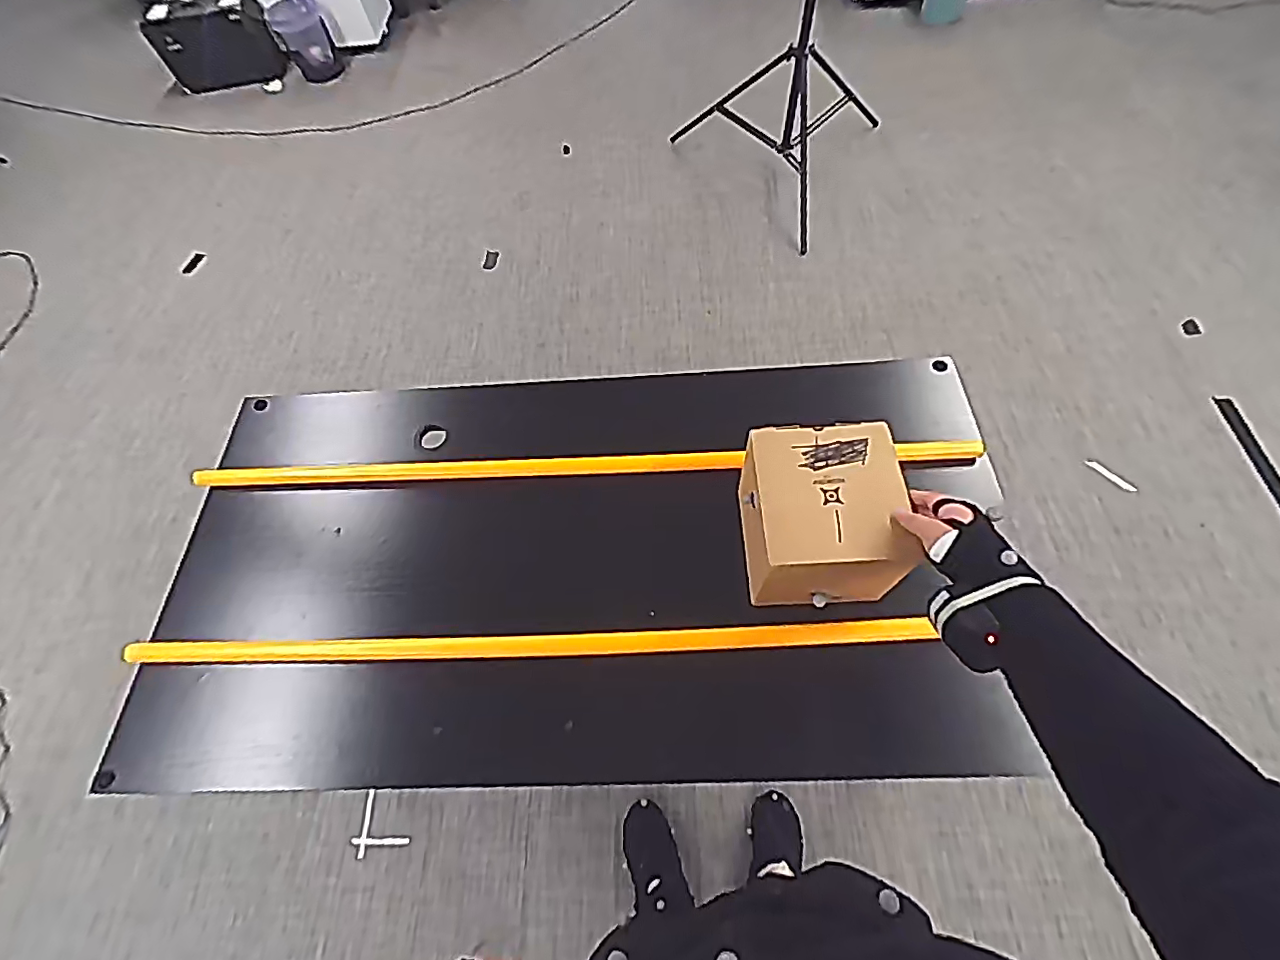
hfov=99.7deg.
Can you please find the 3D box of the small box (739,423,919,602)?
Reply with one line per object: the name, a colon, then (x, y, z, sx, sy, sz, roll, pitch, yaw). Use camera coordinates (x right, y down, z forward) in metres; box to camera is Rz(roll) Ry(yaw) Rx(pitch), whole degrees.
small box: (0.223, 0.047, 0.693, 0.168, 0.176, 0.179, -3, 62, 4)
